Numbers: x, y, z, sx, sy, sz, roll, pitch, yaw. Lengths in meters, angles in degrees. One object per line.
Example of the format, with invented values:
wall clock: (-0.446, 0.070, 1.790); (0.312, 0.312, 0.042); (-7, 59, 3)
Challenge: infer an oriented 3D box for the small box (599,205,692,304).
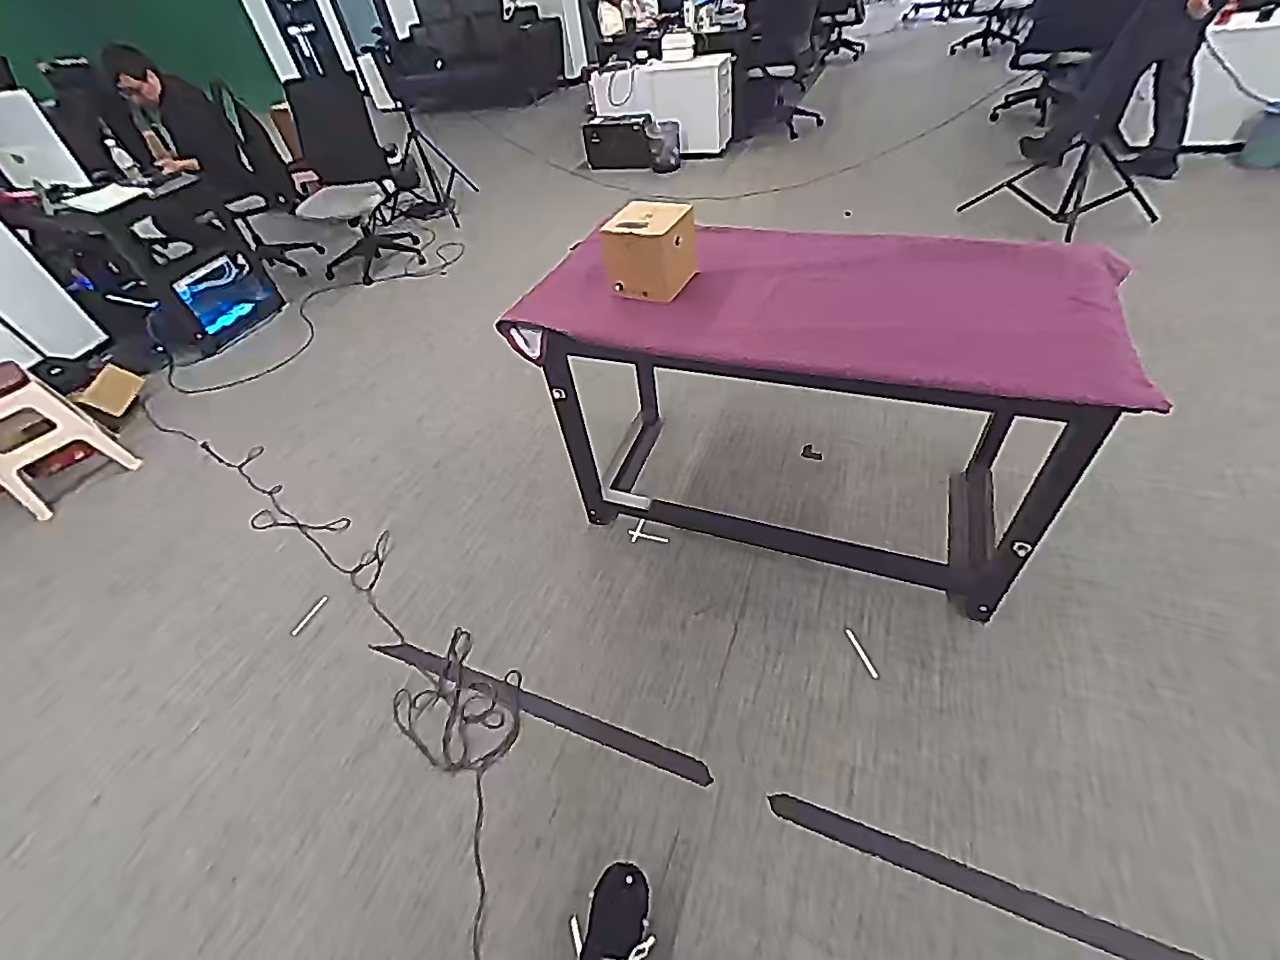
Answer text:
small box: (0.023, -0.553, 1.328); (0.168, 0.176, 0.179); (17, 51, 23)
